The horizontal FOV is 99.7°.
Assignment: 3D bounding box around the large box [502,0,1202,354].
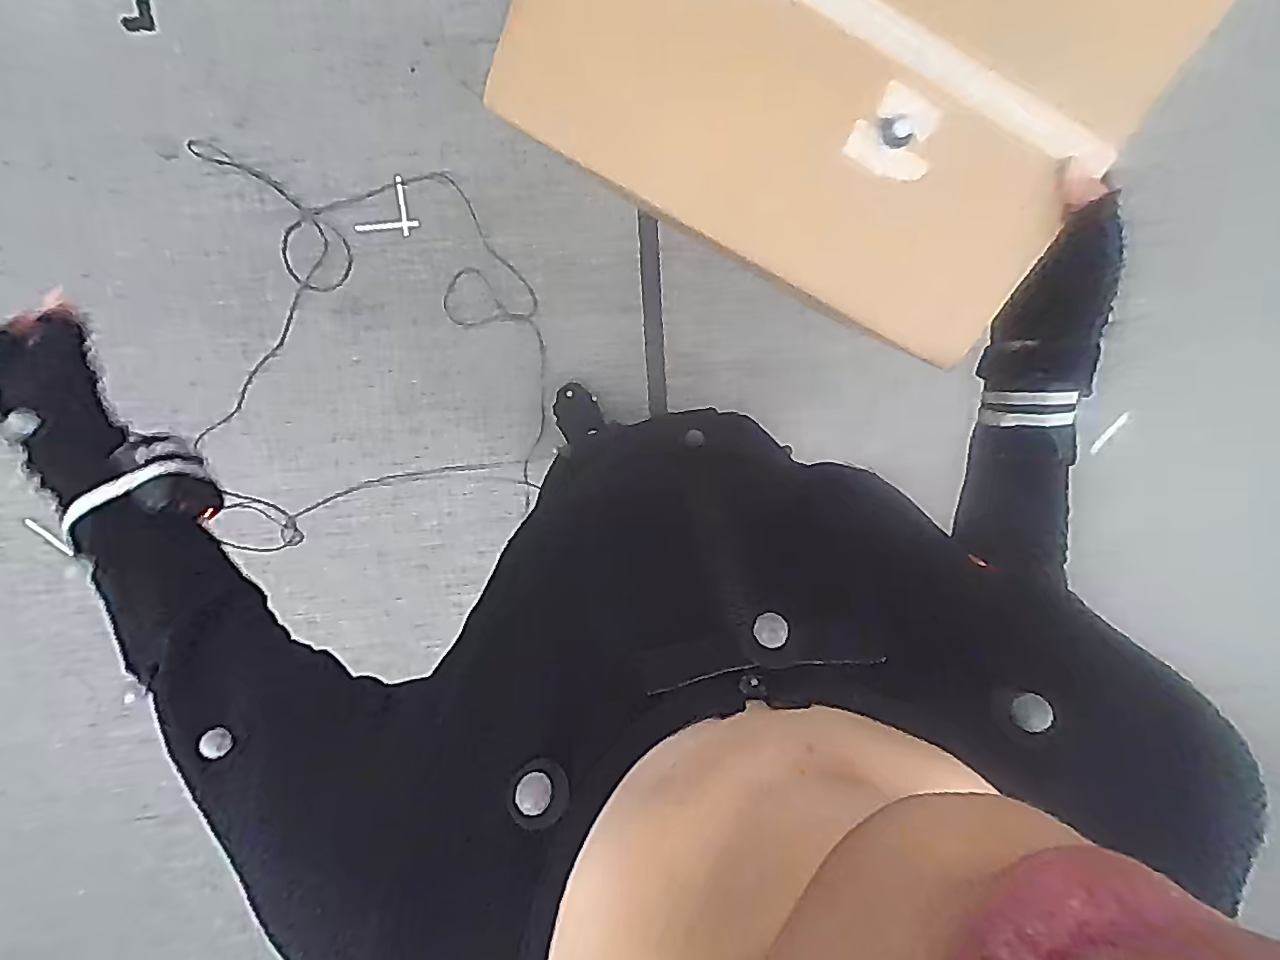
[{"bbox_3d":[0.148,-0.363,0.501,0.408,0.320,0.320,26,113,-5],"label":"large box"}]
